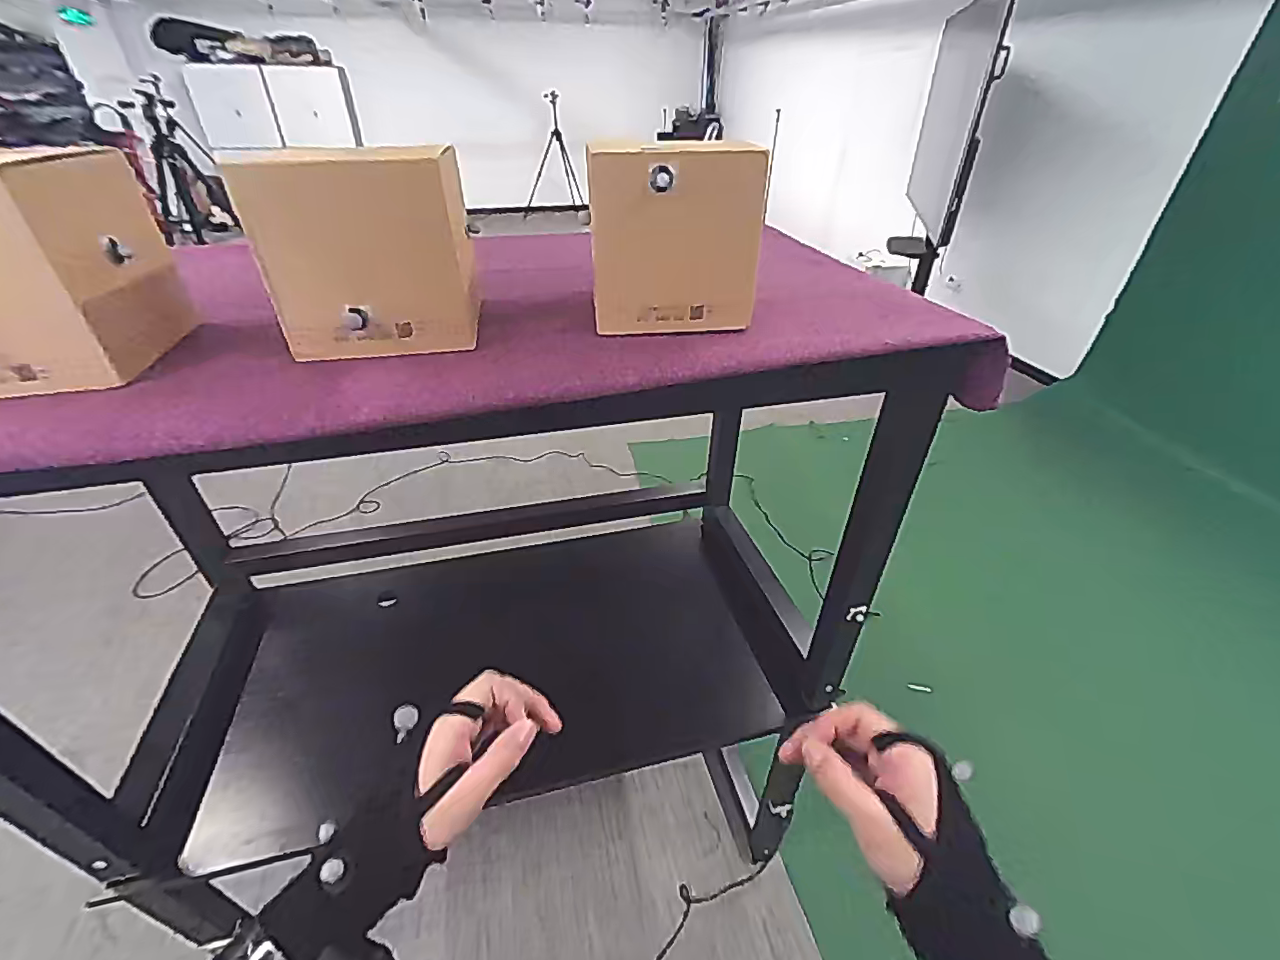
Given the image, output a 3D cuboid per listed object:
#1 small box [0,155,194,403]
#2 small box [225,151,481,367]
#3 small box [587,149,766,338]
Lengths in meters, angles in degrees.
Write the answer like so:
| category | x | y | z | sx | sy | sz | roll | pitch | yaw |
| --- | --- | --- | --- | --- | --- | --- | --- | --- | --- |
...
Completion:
| category | x | y | z | sx | sy | sz | roll | pitch | yaw |
| --- | --- | --- | --- | --- | --- | --- | --- | --- | --- |
| small box | -0.537 | -0.177 | 0.468 | 0.168 | 0.176 | 0.179 | -8 | 37 | -12 |
| small box | -0.260 | -0.226 | 0.544 | 0.168 | 0.176 | 0.179 | -7 | 36 | -9 |
| small box | 0.027 | -0.264 | 0.597 | 0.168 | 0.176 | 0.179 | -4 | 34 | -4 |
